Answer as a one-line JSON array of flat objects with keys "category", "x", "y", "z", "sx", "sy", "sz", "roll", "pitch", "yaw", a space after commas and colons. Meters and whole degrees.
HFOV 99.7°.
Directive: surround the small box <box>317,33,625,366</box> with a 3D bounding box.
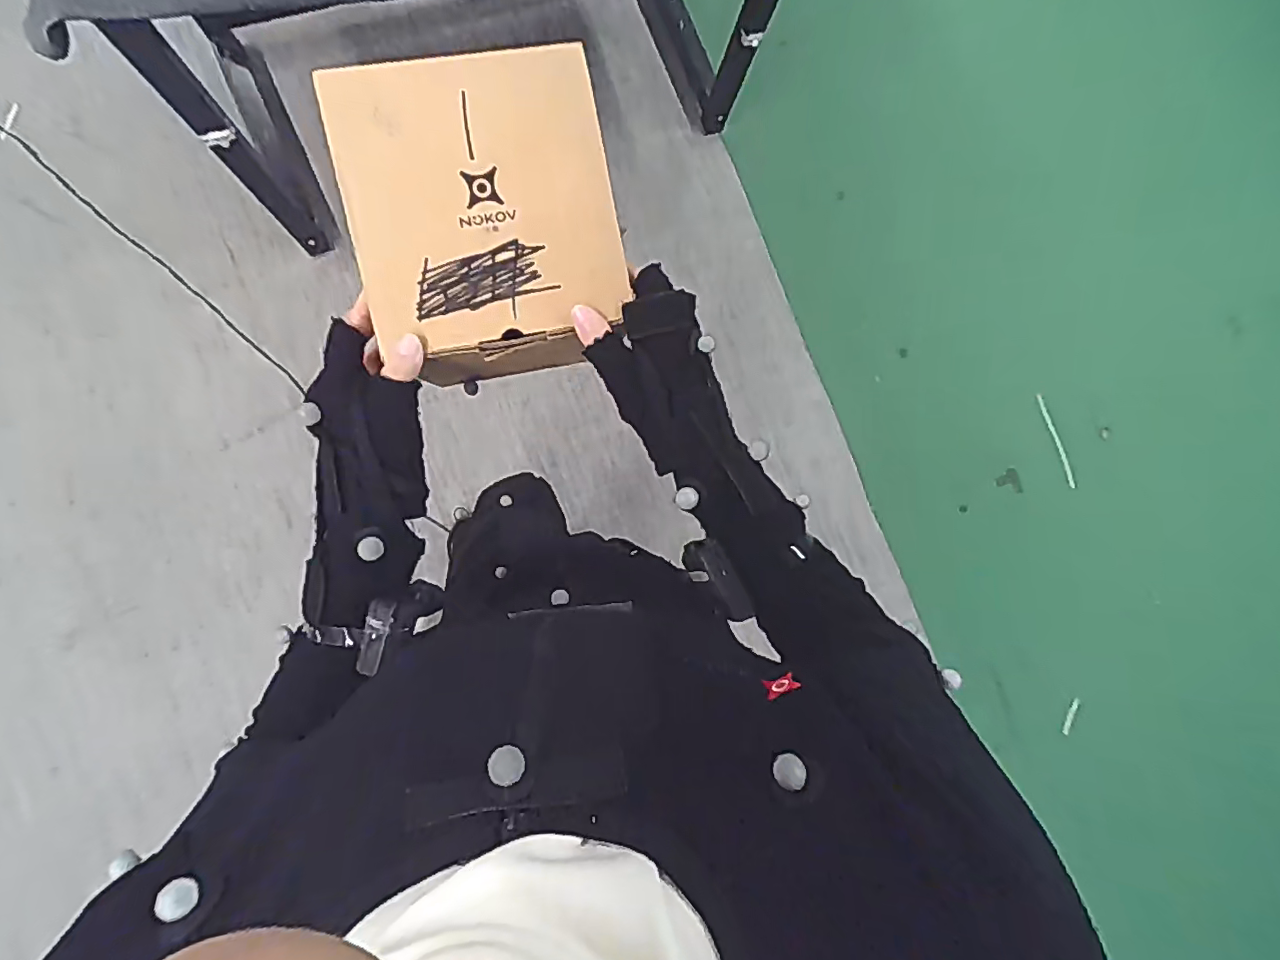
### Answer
[{"category": "small box", "x": -0.112, "y": -0.191, "z": 0.422, "sx": 0.168, "sy": 0.176, "sz": 0.179, "roll": -11, "pitch": 95, "yaw": -7}]
